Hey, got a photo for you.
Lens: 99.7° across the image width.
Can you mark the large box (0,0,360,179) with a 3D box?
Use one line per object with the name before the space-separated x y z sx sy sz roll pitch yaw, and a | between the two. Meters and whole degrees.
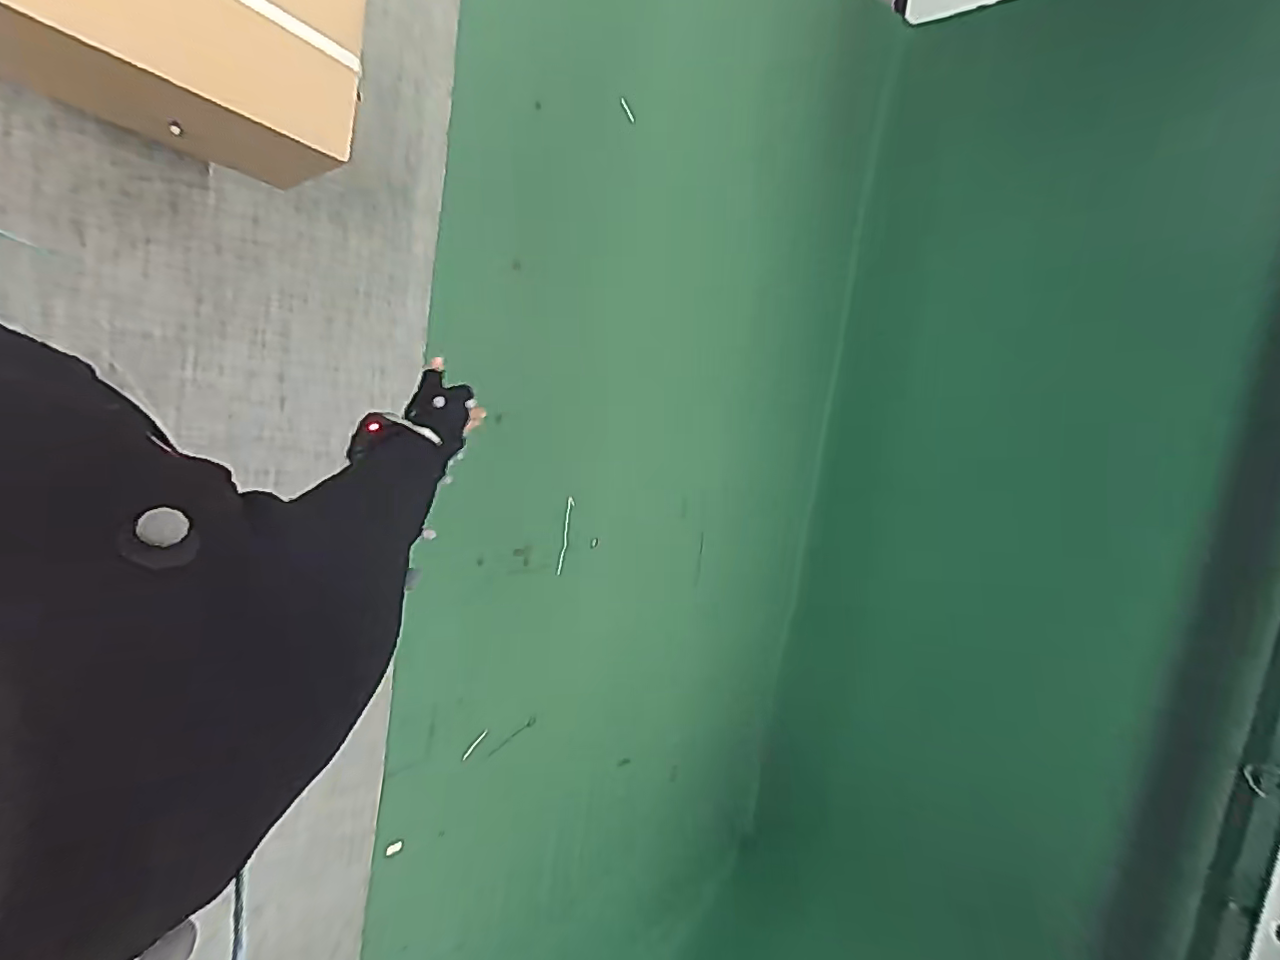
large box | -0.724 -0.740 0.859 0.408 0.320 0.320 3 98 -51
